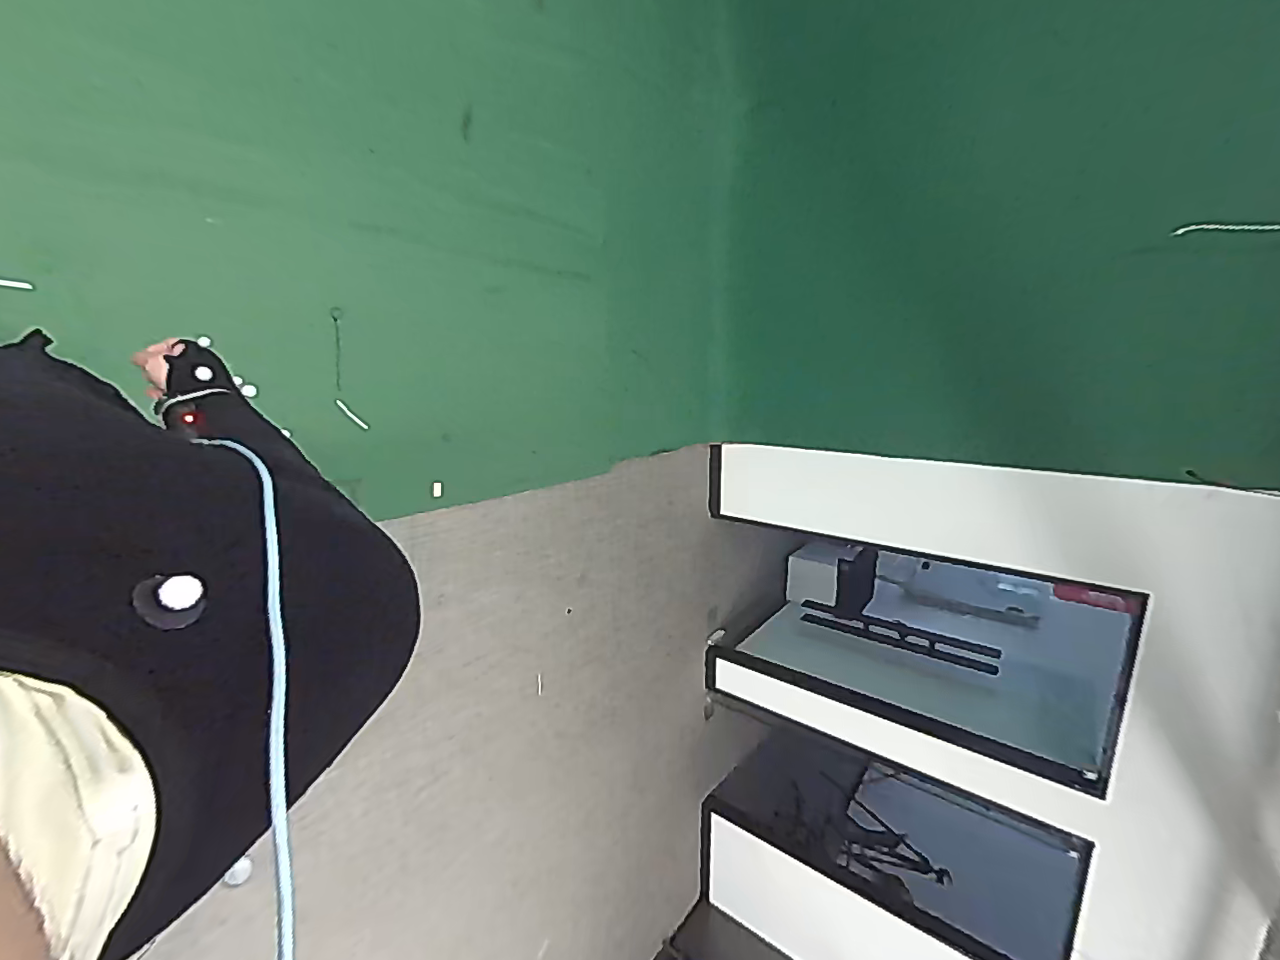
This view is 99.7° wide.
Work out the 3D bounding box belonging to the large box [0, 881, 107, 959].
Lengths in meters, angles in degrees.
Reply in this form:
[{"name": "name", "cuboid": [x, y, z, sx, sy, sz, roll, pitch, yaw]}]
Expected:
[{"name": "large box", "cuboid": [-1.343, 1.073, 1.018, 0.408, 0.320, 0.320, 16, 85, -53]}]
